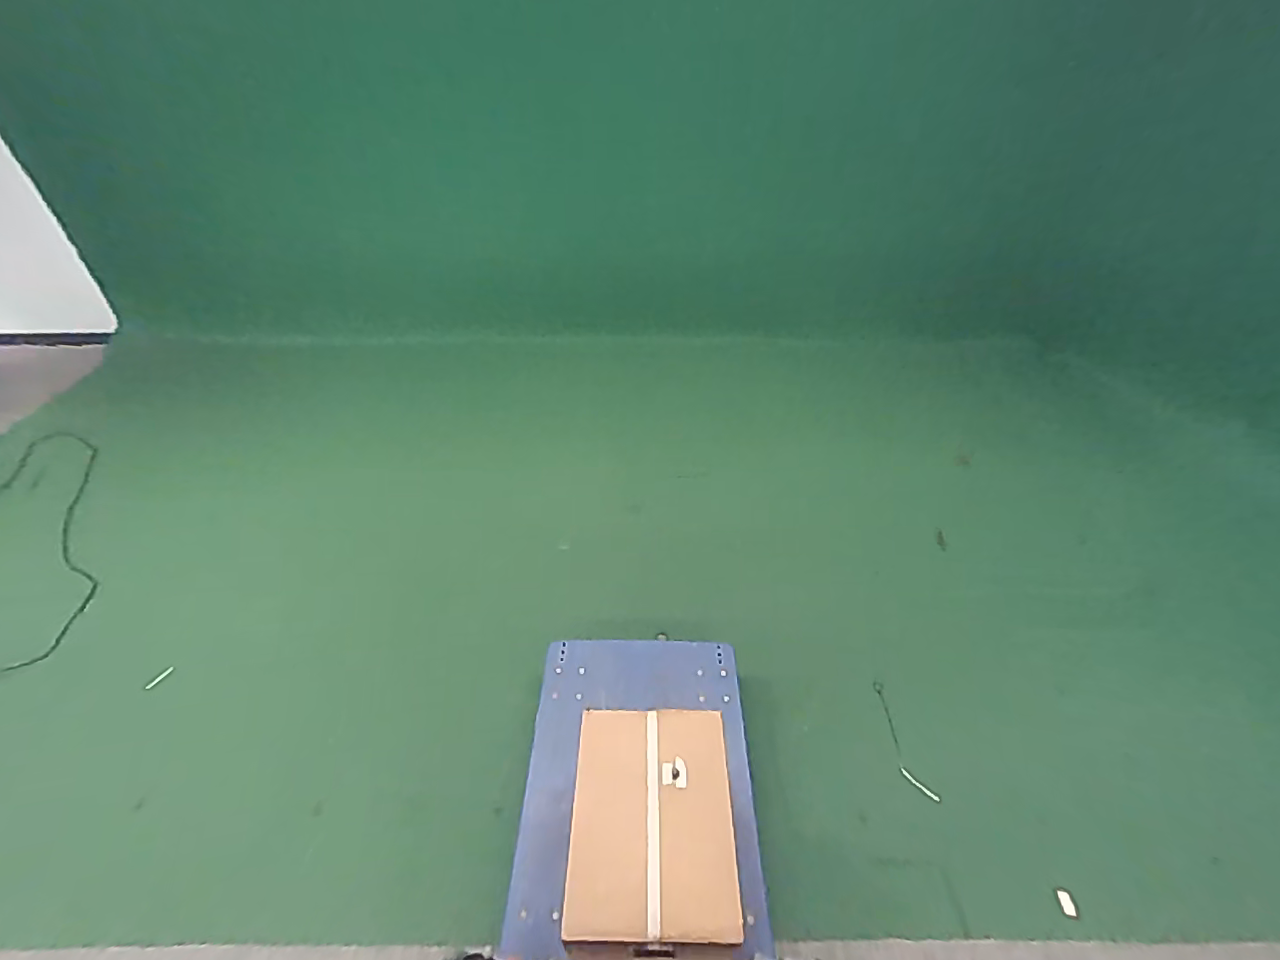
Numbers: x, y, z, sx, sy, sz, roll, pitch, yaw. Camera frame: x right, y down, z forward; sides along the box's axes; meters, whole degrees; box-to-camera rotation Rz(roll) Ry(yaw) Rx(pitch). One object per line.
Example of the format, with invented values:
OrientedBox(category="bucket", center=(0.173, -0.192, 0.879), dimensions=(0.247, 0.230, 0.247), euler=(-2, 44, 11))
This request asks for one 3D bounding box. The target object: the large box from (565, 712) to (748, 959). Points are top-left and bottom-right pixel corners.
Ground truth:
OrientedBox(category="large box", center=(0.029, 0.759, 1.141), dimensions=(0.320, 0.320, 0.408), euler=(1, 39, 0))
